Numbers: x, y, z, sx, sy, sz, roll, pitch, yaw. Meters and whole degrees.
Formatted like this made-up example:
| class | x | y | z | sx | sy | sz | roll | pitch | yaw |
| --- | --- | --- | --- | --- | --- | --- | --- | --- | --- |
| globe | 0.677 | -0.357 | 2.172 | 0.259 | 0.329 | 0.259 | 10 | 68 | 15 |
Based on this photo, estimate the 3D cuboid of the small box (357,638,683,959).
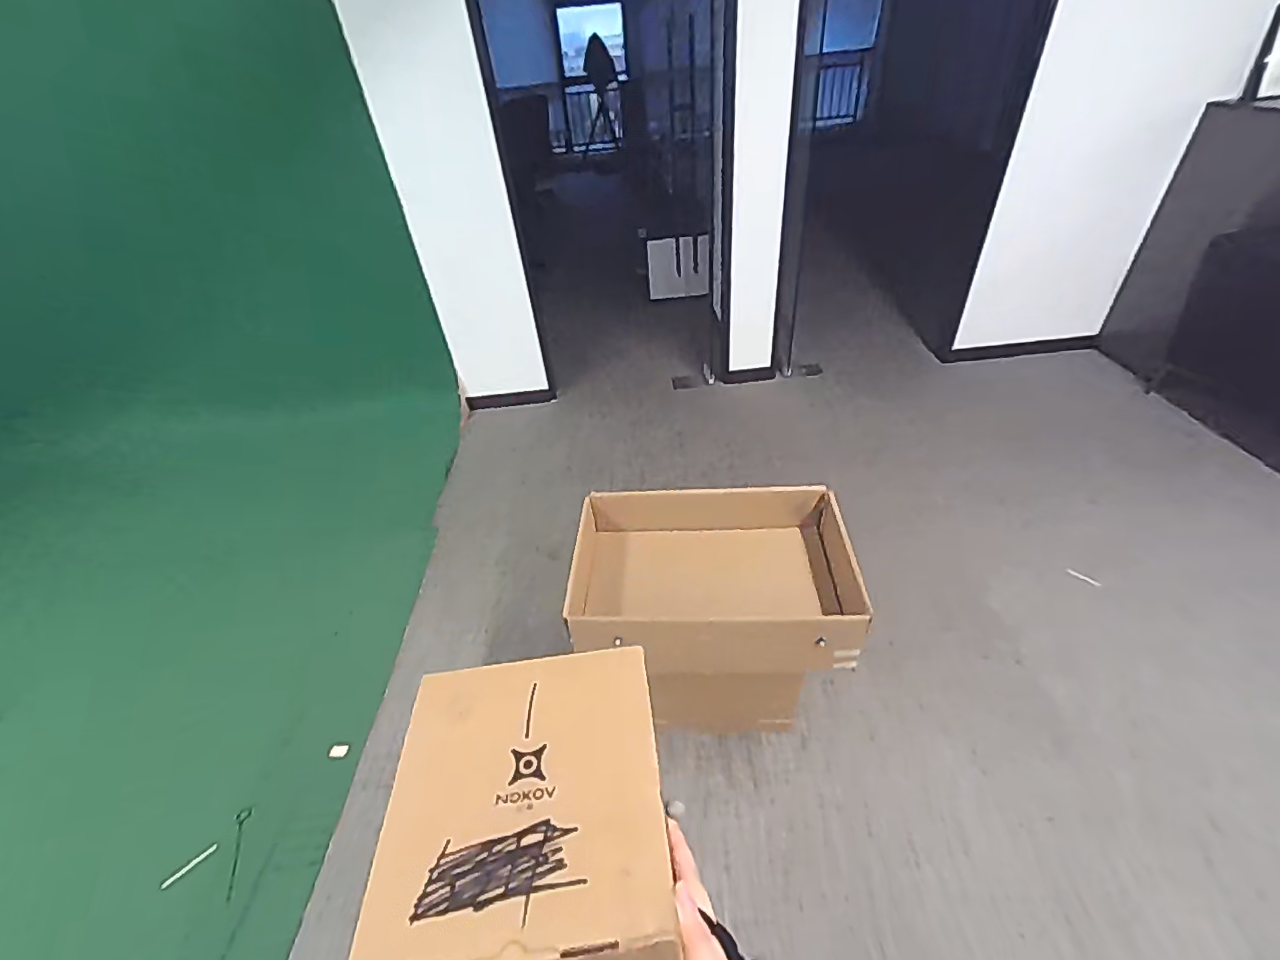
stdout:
| class | x | y | z | sx | sy | sz | roll | pitch | yaw |
| --- | --- | --- | --- | --- | --- | --- | --- | --- | --- |
| small box | -0.063 | 0.244 | 0.386 | 0.168 | 0.176 | 0.179 | -6 | 35 | -2 |
